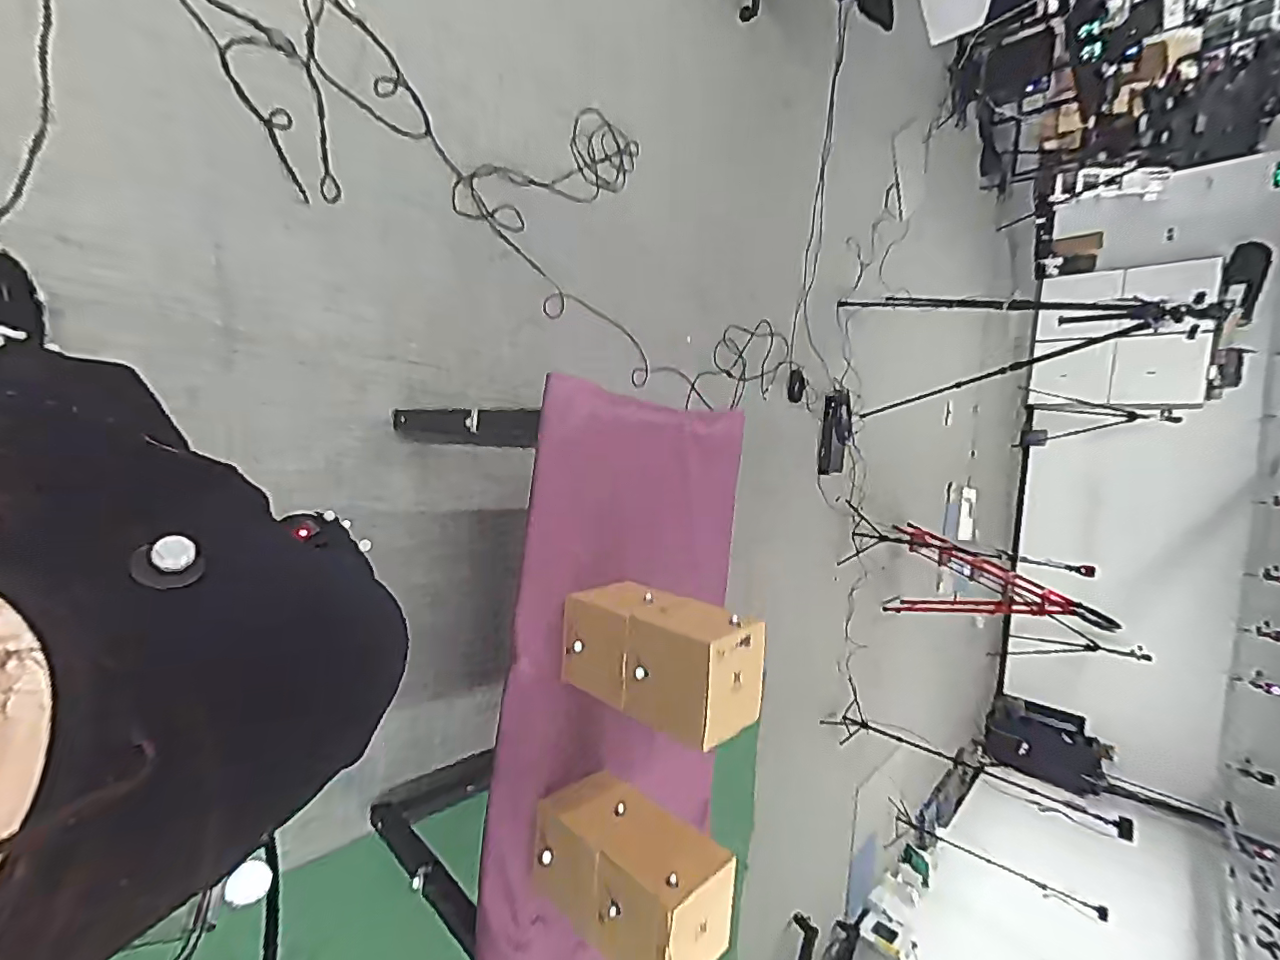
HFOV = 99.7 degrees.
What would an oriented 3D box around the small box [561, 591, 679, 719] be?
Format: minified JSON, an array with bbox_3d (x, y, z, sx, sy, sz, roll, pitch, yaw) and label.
[{"bbox_3d":[-0.026,0.316,1.022,0.179,0.176,0.168,0,94,-48],"label":"small box"}]

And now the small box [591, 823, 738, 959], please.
[{"bbox_3d":[0.041,0.723,0.908,0.179,0.176,0.168,2,93,-47],"label":"small box"}]

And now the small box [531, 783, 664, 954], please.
[{"bbox_3d":[-0.080,0.708,1.015,0.179,0.176,0.168,3,93,-46],"label":"small box"}]

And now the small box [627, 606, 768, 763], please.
[{"bbox_3d":[0.093,0.329,0.910,0.168,0.176,0.179,-1,96,-48],"label":"small box"}]
